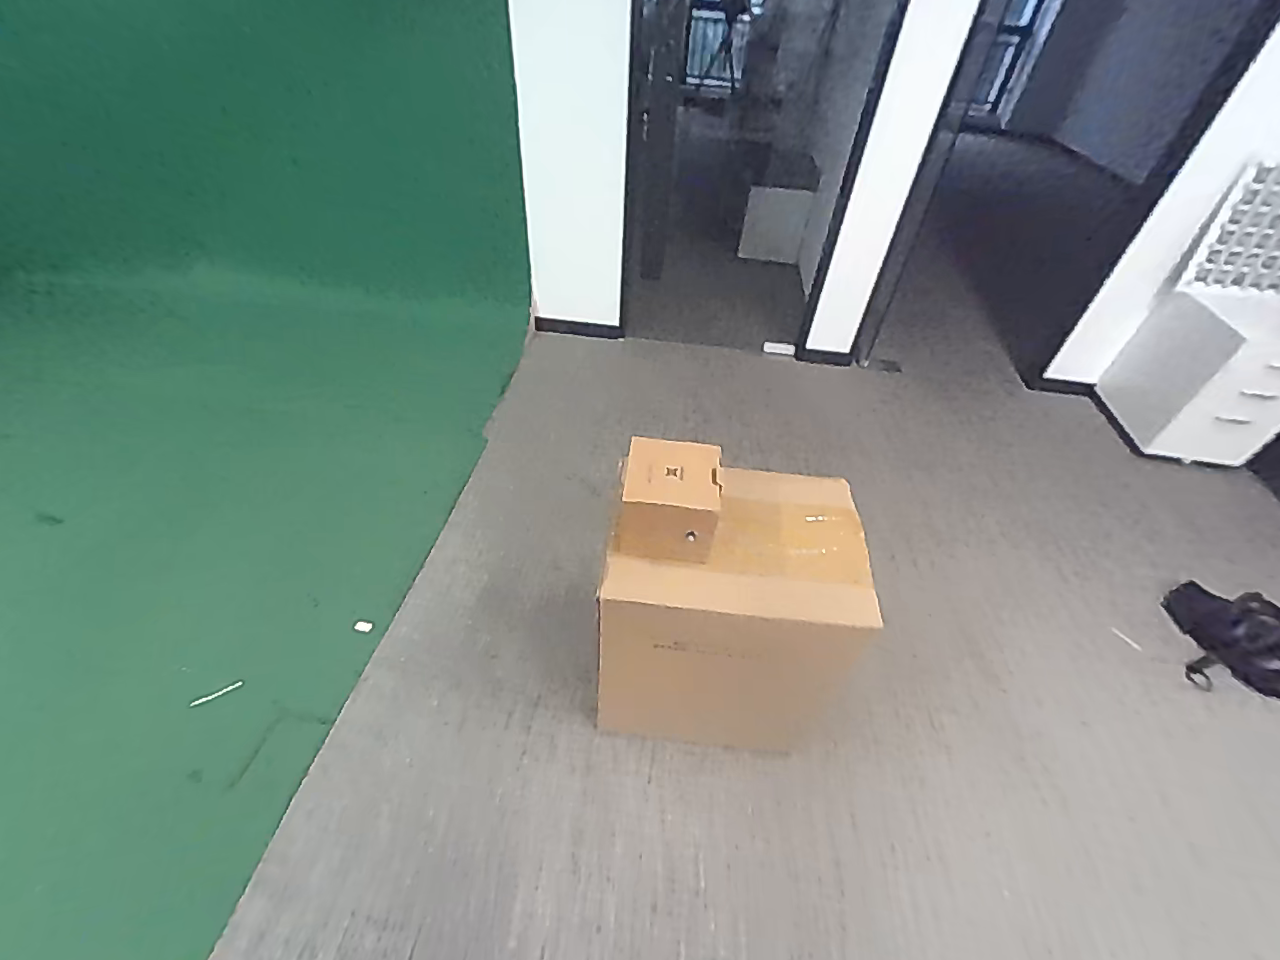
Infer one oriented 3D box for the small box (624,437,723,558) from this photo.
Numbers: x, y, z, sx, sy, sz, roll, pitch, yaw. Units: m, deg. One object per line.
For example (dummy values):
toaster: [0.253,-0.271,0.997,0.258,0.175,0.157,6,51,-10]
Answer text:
small box: [0.064,0.037,1.058,0.179,0.176,0.168,5,48,3]
